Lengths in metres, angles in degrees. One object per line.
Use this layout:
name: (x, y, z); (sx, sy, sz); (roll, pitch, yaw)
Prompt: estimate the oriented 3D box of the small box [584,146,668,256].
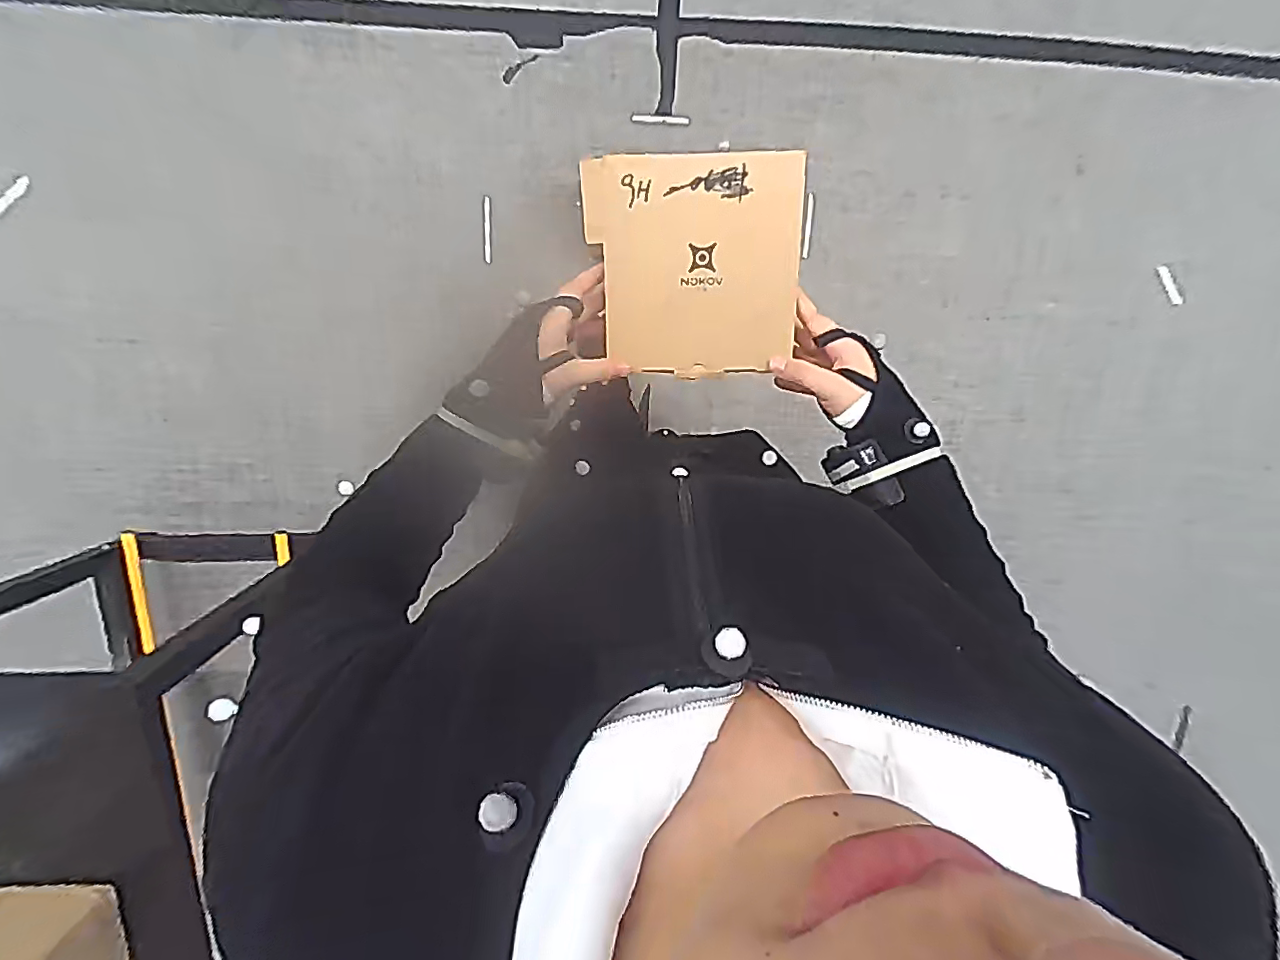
small box: (-0.033, -0.597, 1.175); (0.168, 0.176, 0.179); (-5, 105, -2)
